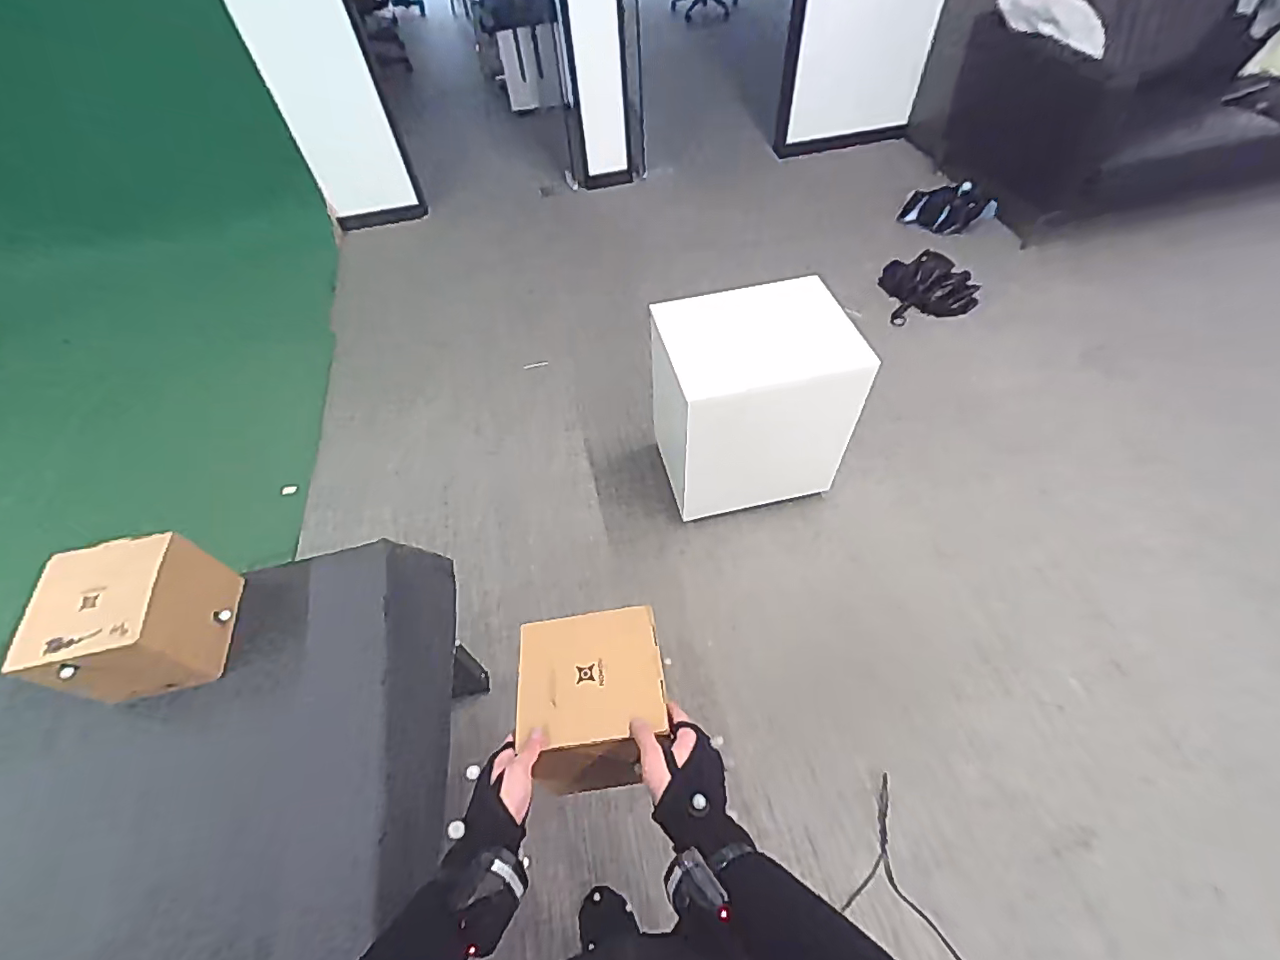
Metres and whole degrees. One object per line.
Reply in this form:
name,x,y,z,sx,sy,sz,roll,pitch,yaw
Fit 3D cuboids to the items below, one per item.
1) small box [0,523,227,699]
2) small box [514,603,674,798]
small box,-0.742,0.189,0.778,0.168,0.176,0.179,-10,53,-7
small box,-0.052,0.284,0.694,0.179,0.176,0.168,-9,43,-1
